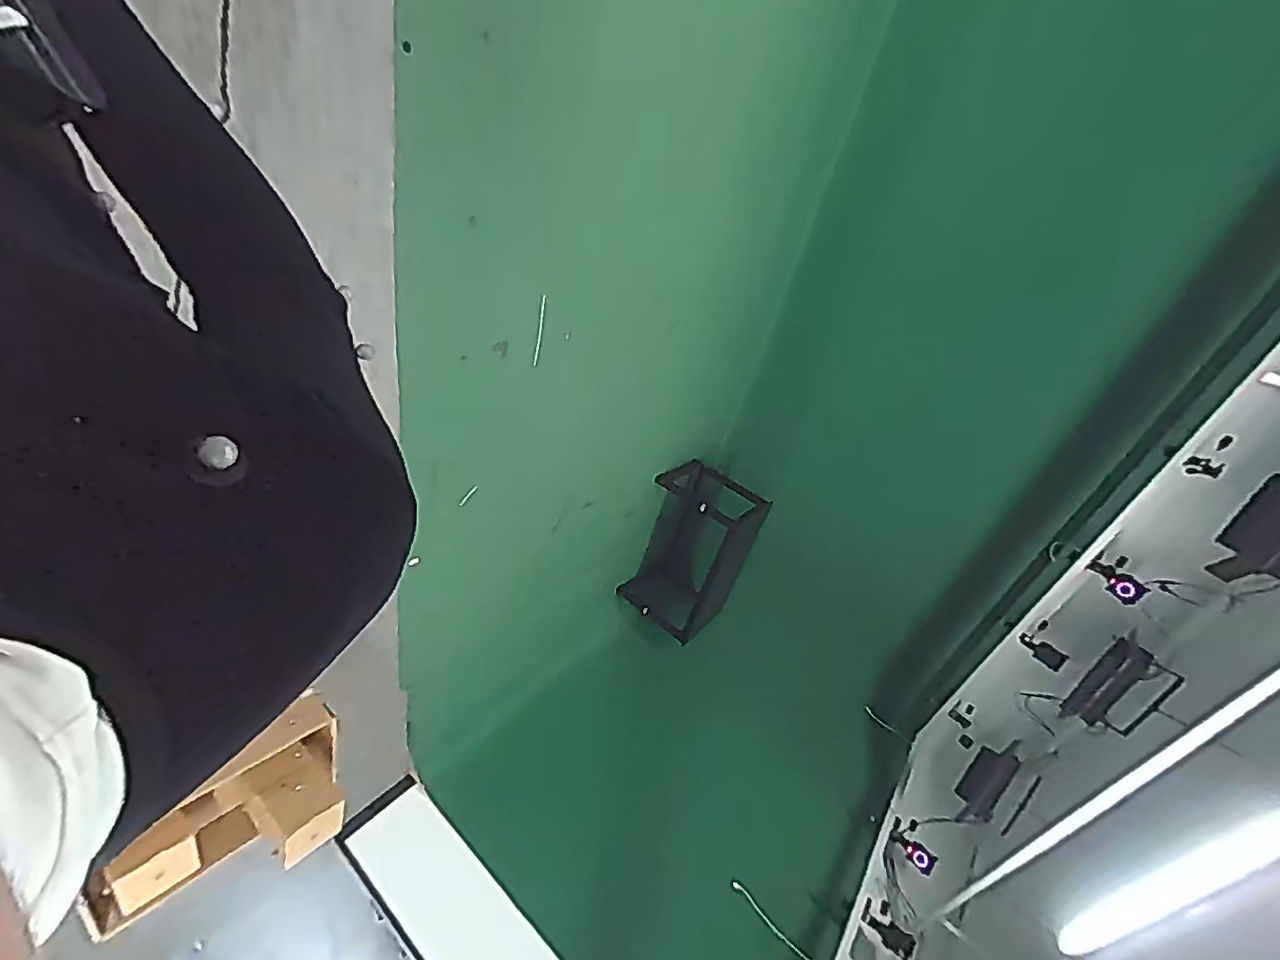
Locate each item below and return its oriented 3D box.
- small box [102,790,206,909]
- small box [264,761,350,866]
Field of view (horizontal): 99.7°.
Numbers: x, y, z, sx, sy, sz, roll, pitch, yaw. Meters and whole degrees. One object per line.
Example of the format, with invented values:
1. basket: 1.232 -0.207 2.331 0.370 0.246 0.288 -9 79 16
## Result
1. small box: -1.316 0.993 1.469 0.168 0.176 0.179 -21 137 -50
2. small box: -1.005 0.996 1.629 0.168 0.176 0.179 -20 137 -52
